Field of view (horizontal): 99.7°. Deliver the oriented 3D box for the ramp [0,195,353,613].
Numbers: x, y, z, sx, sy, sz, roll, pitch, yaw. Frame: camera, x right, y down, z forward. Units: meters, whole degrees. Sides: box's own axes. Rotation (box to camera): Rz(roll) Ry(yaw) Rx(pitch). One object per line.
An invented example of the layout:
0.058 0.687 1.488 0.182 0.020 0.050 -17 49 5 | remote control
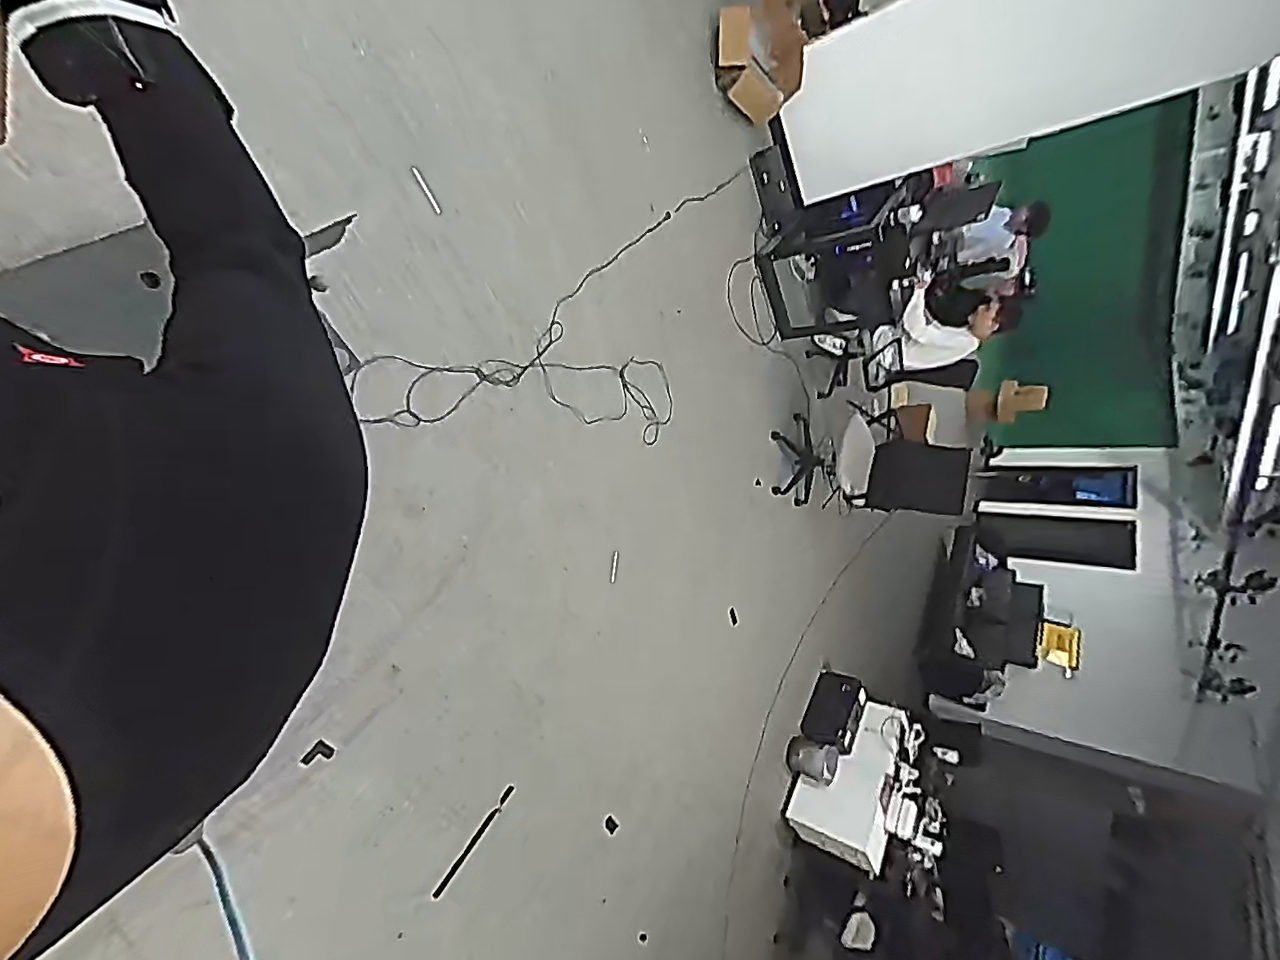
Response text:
-1.121 -0.206 1.131 0.991 0.206 0.509 -54 128 -33 | ramp
